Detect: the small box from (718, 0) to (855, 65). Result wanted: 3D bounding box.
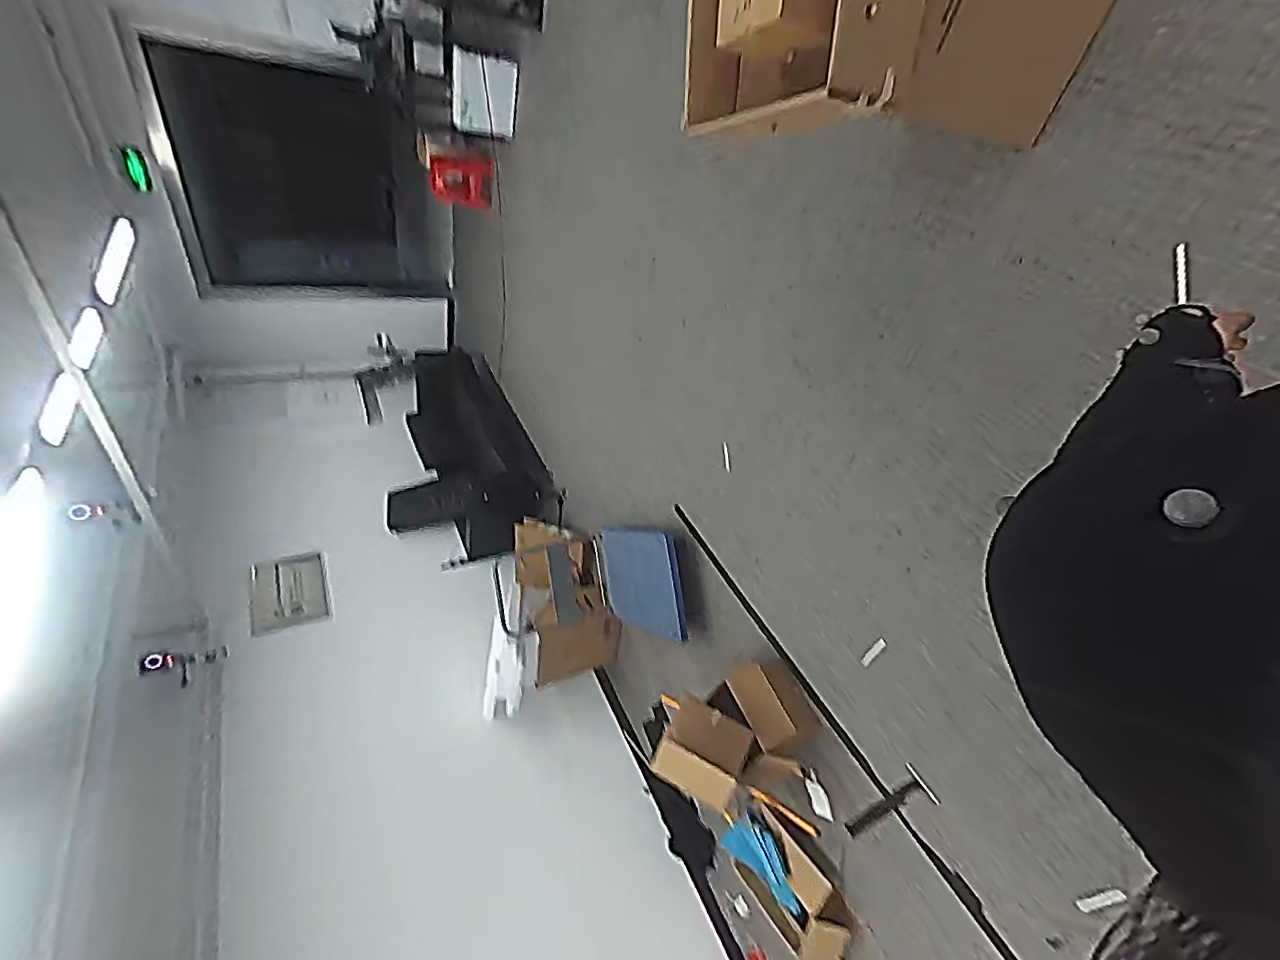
[{"bbox_3d":[0.259,-0.856,0.931,0.168,0.176,0.179,34,128,52],"label":"small box"}]
